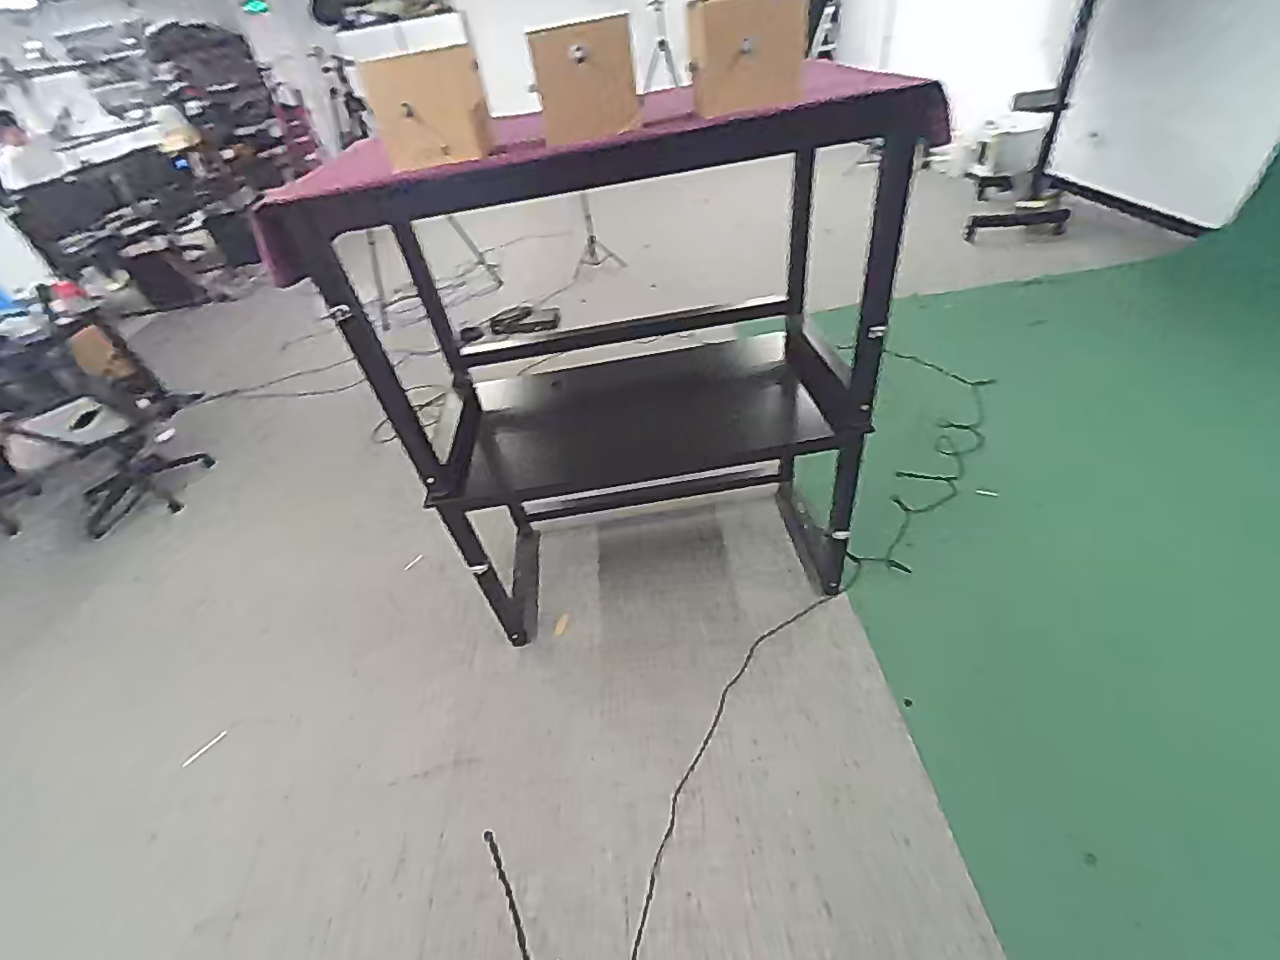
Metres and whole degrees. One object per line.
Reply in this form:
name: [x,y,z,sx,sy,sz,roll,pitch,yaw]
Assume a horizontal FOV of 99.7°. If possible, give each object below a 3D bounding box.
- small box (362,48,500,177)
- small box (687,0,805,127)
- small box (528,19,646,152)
small box: [-0.370,-0.674,0.998,0.168,0.176,0.179,-7,39,4]
small box: [0.191,-0.756,0.974,0.179,0.176,0.168,-11,42,2]
small box: [-0.094,-0.716,0.988,0.179,0.176,0.168,-11,40,0]
